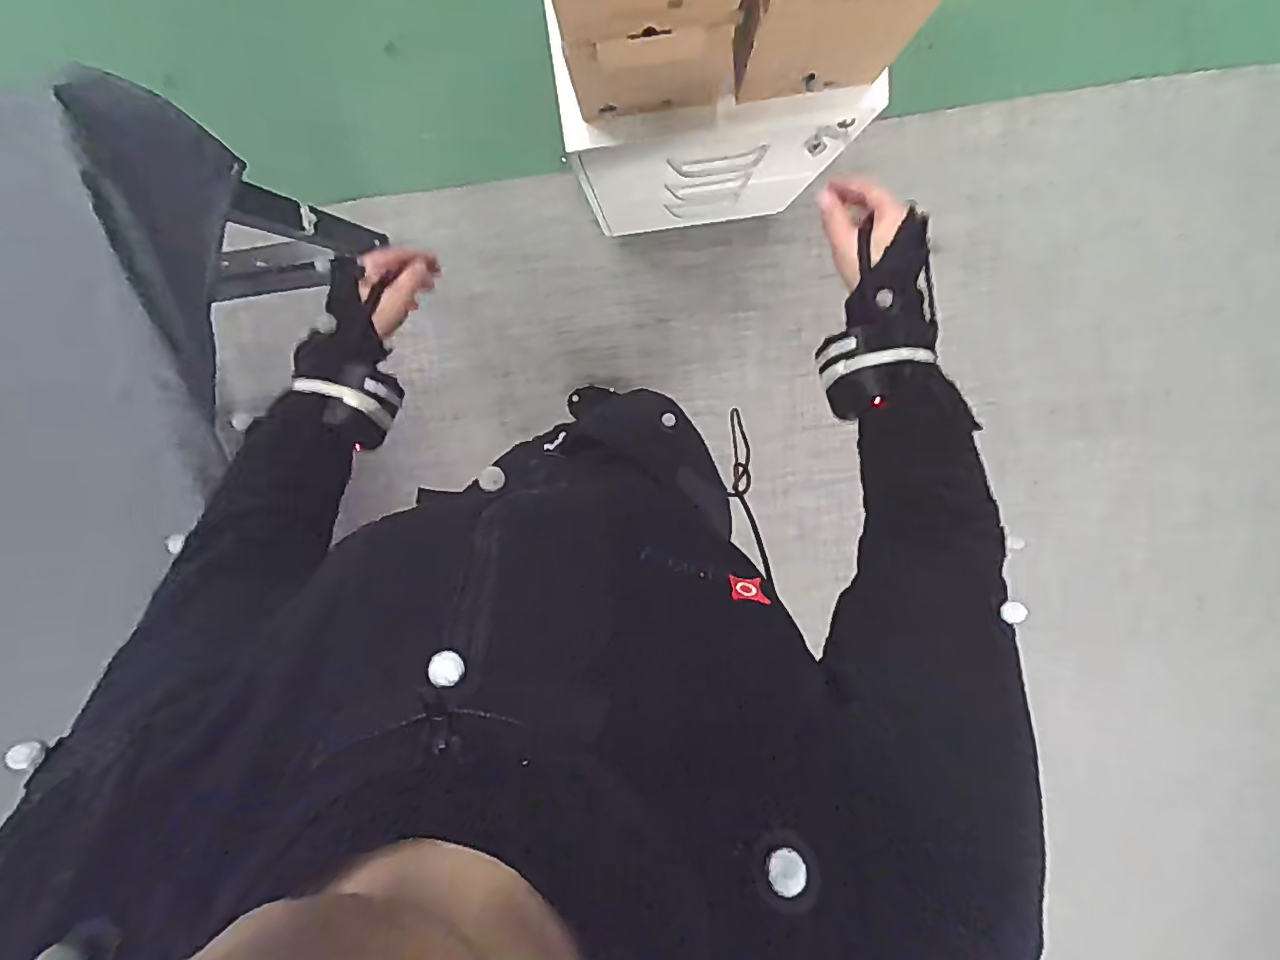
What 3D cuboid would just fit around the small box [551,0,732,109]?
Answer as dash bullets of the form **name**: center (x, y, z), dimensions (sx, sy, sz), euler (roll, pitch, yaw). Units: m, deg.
- **small box**: center (-0.004, -0.510, 0.553), dimensions (0.168, 0.176, 0.179), euler (-6, 103, 1)
